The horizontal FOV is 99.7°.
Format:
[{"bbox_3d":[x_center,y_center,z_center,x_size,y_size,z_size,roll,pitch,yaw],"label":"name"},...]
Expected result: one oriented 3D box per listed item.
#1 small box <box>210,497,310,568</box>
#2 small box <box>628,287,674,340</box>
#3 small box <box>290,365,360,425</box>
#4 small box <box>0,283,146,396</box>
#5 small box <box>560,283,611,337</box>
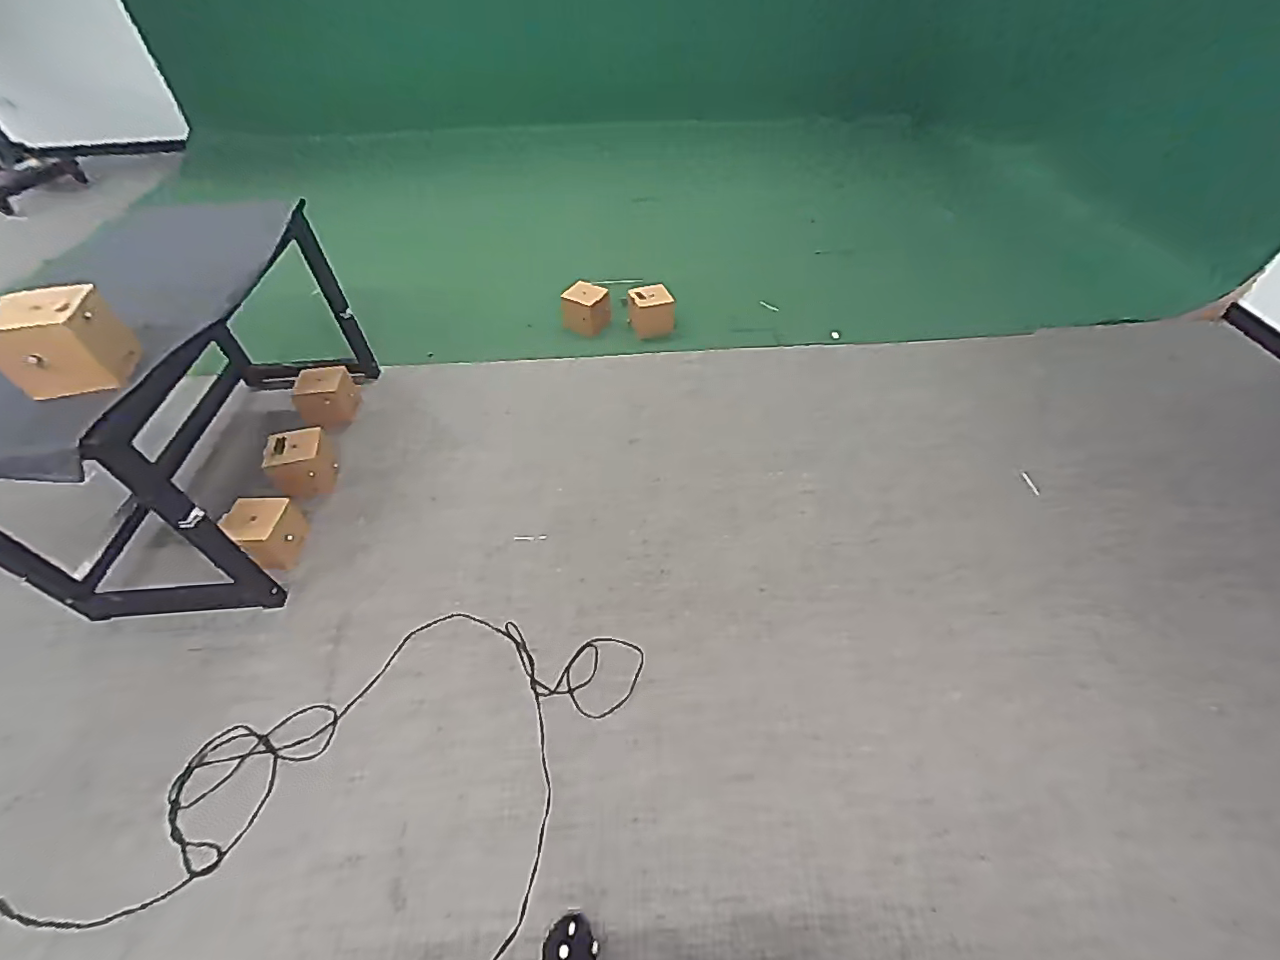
[{"bbox_3d":[-1.208,0.172,1.739,0.179,0.176,0.168,0,49,2],"label":"small box"},{"bbox_3d":[0.053,-0.779,2.540,0.179,0.176,0.168,-14,50,-12],"label":"small box"},{"bbox_3d":[-1.263,-0.341,2.183,0.179,0.176,0.168,-6,49,-4],"label":"small box"},{"bbox_3d":[-1.256,-0.304,1.184,0.179,0.176,0.168,-12,50,-10],"label":"small box"},{"bbox_3d":[-0.252,-0.805,2.570,0.179,0.176,0.168,24,53,21],"label":"small box"}]
